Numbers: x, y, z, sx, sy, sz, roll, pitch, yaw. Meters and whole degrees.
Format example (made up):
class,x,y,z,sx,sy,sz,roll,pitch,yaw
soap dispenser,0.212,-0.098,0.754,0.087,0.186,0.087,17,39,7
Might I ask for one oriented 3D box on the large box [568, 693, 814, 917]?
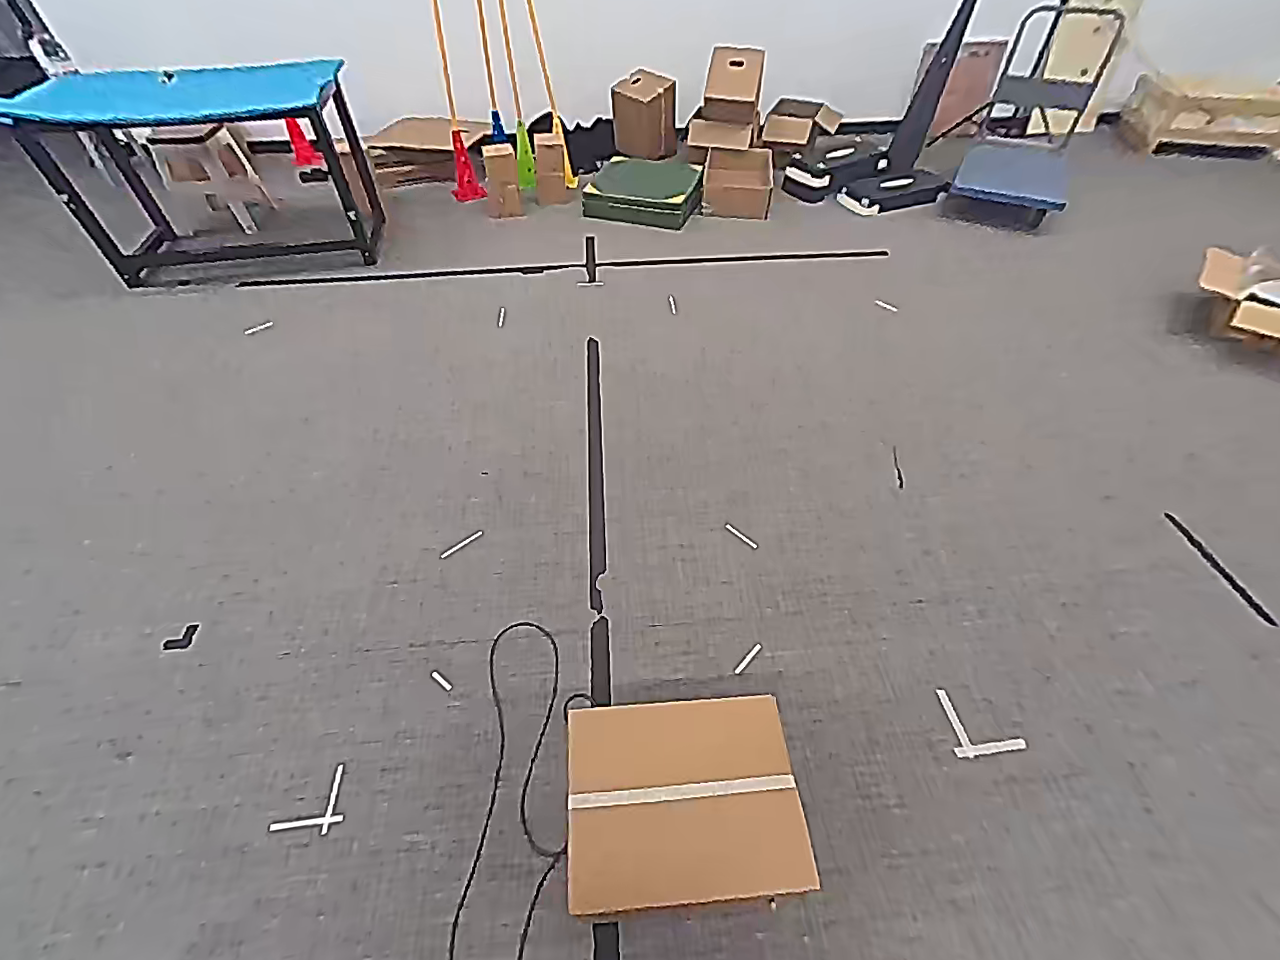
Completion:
class,x,y,z,sx,sy,sz,roll,pitch,yaw
large box,0.072,0.645,1.069,0.408,0.320,0.320,-3,49,-4
